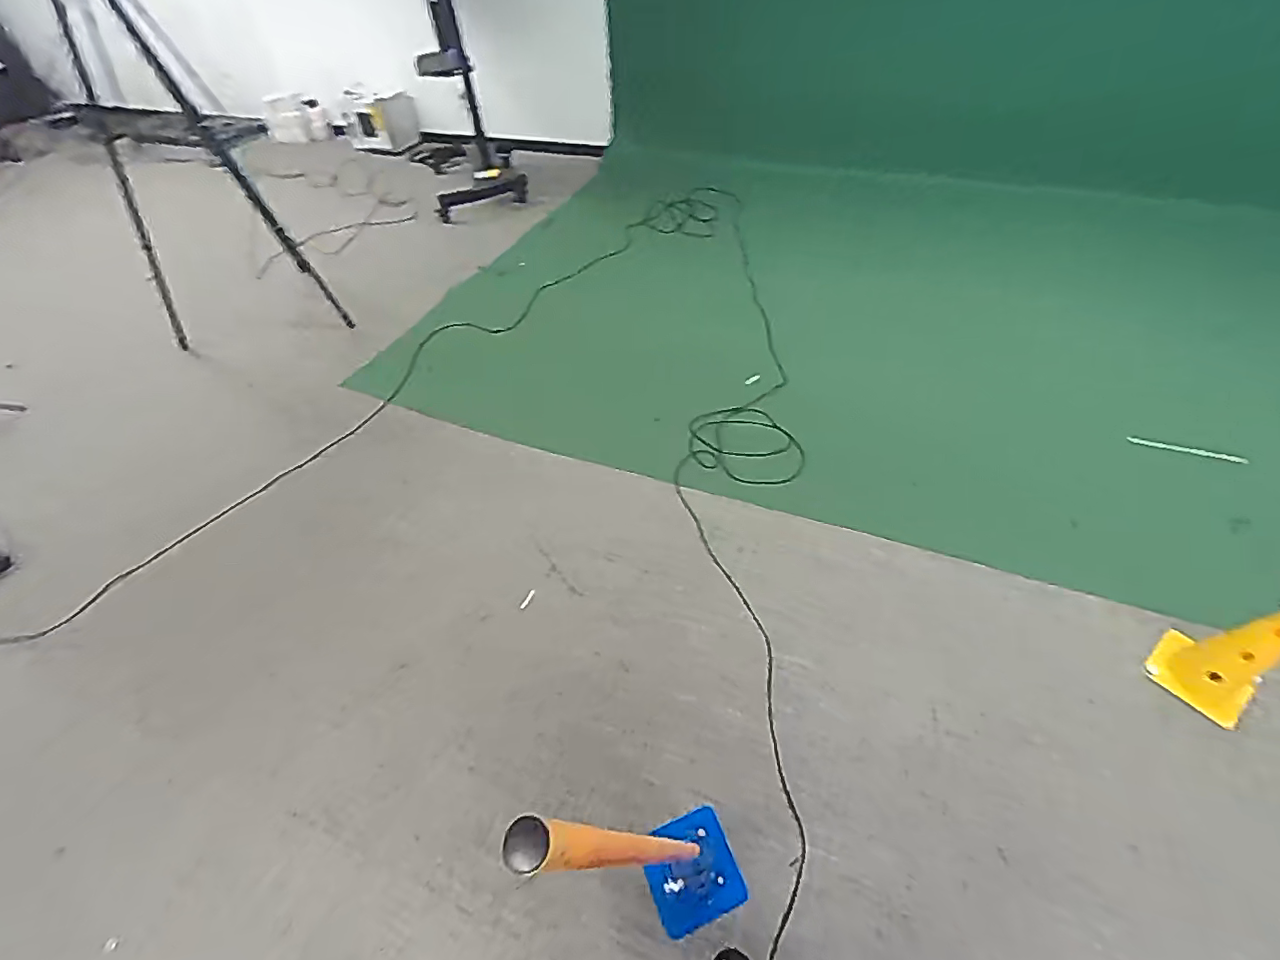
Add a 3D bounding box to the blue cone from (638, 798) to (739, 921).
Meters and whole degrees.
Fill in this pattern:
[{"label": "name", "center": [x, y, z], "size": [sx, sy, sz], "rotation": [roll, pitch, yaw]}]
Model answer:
[{"label": "blue cone", "center": [0.097, 0.744, 1.081], "size": [0.193, 0.380, 0.192], "rotation": [-21, 52, -12]}]
